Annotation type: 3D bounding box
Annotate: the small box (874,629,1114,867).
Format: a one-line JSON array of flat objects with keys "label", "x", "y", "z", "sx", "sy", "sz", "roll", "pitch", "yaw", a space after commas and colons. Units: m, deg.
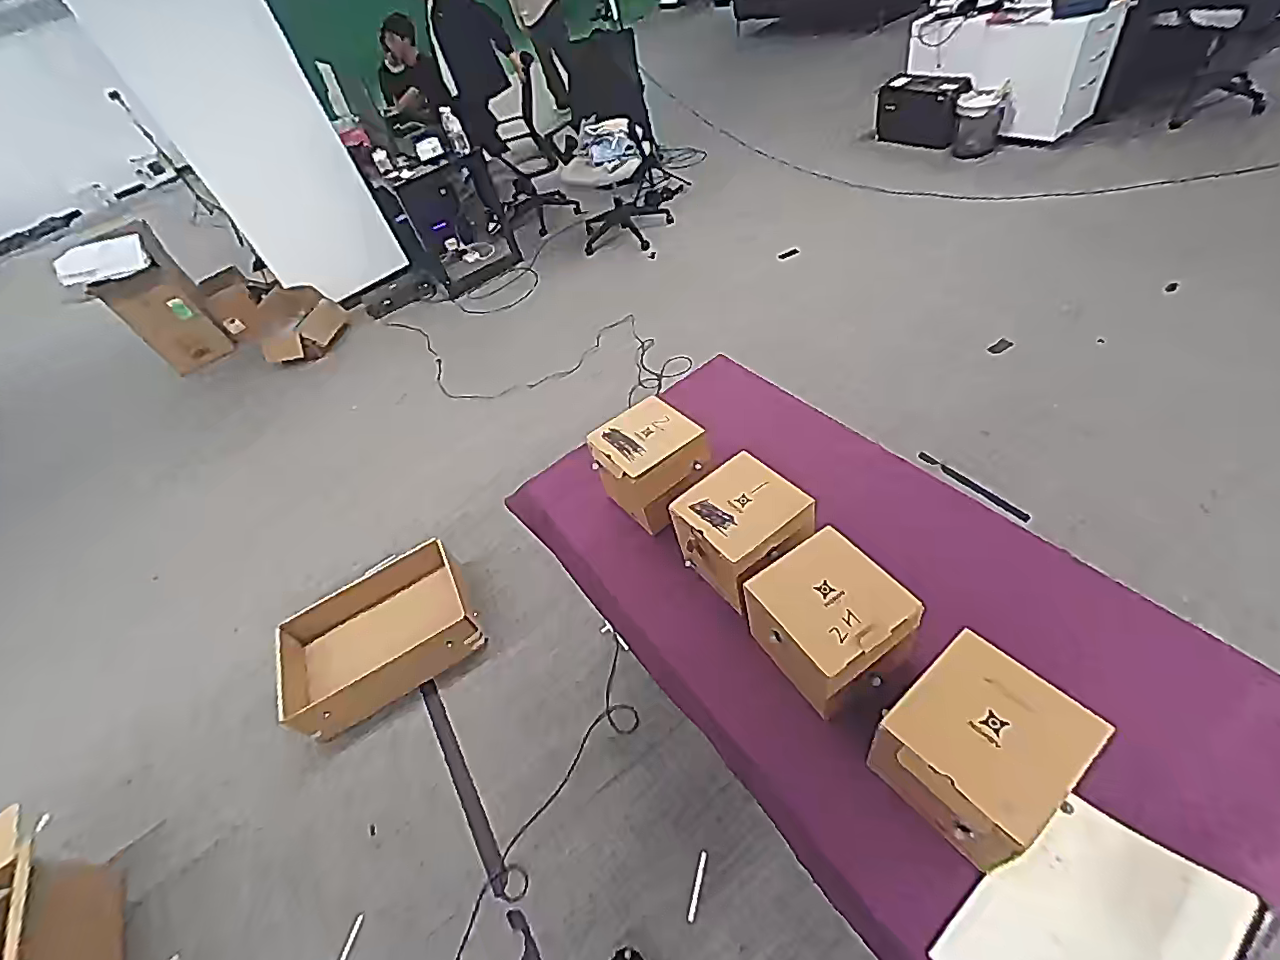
[{"label": "small box", "x": 0.406, "y": 0.325, "z": 0.654, "sx": 0.179, "sy": 0.176, "sz": 0.168, "roll": -36, "pitch": 49, "yaw": -17}]
